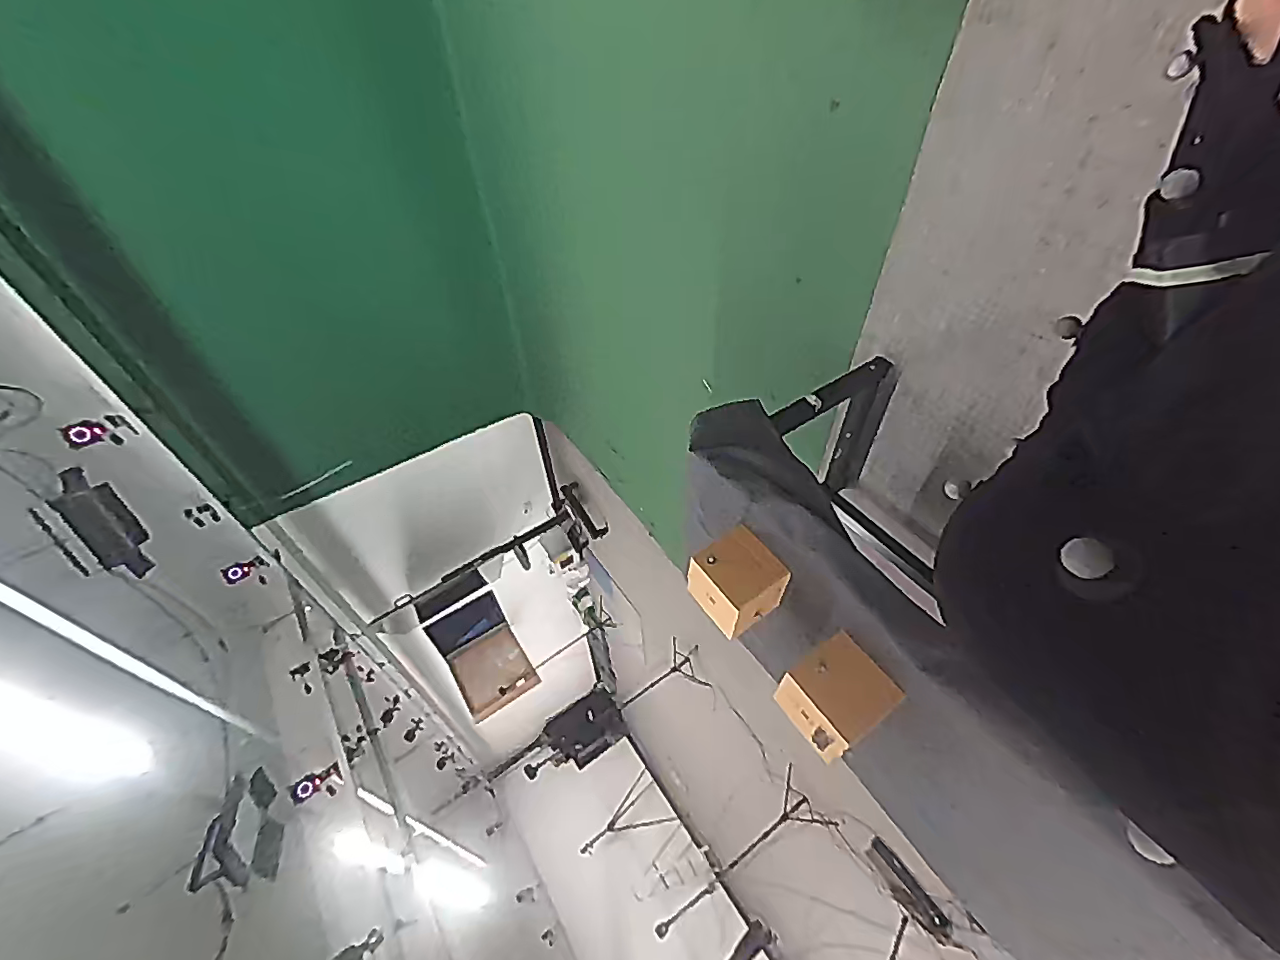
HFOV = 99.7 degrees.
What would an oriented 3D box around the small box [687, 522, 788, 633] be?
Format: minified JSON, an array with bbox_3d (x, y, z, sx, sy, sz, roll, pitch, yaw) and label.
[{"bbox_3d":[0.236,0.235,1.327,0.179,0.176,0.168,48,156,32],"label":"small box"}]
